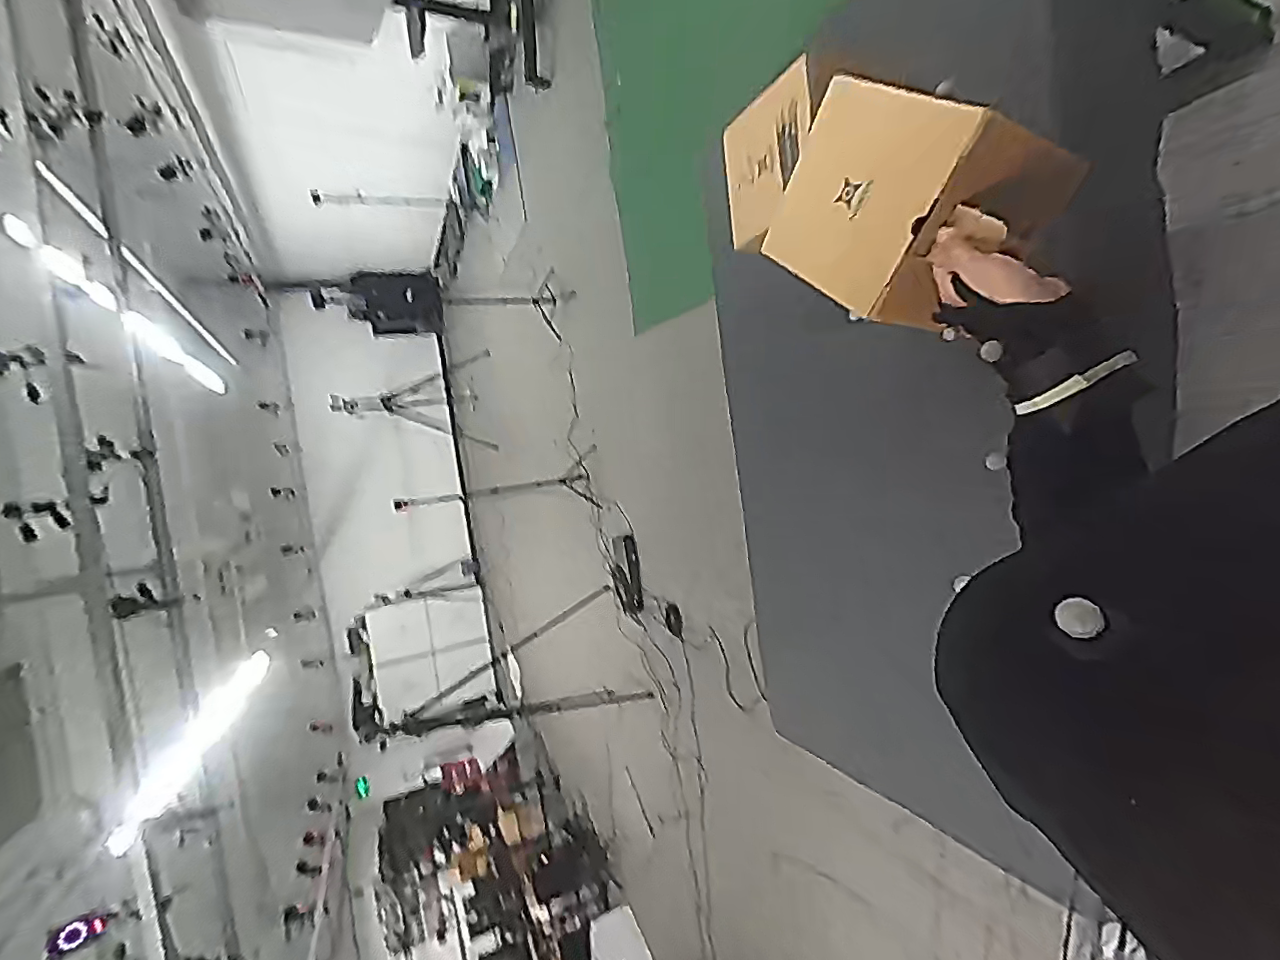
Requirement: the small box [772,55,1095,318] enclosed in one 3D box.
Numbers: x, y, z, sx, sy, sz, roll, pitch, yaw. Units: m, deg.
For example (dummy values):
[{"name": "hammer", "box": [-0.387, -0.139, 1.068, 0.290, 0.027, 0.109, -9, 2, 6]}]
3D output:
[{"name": "small box", "box": [0.271, -0.272, 0.523, 0.179, 0.176, 0.168, 57, 138, 38]}]
